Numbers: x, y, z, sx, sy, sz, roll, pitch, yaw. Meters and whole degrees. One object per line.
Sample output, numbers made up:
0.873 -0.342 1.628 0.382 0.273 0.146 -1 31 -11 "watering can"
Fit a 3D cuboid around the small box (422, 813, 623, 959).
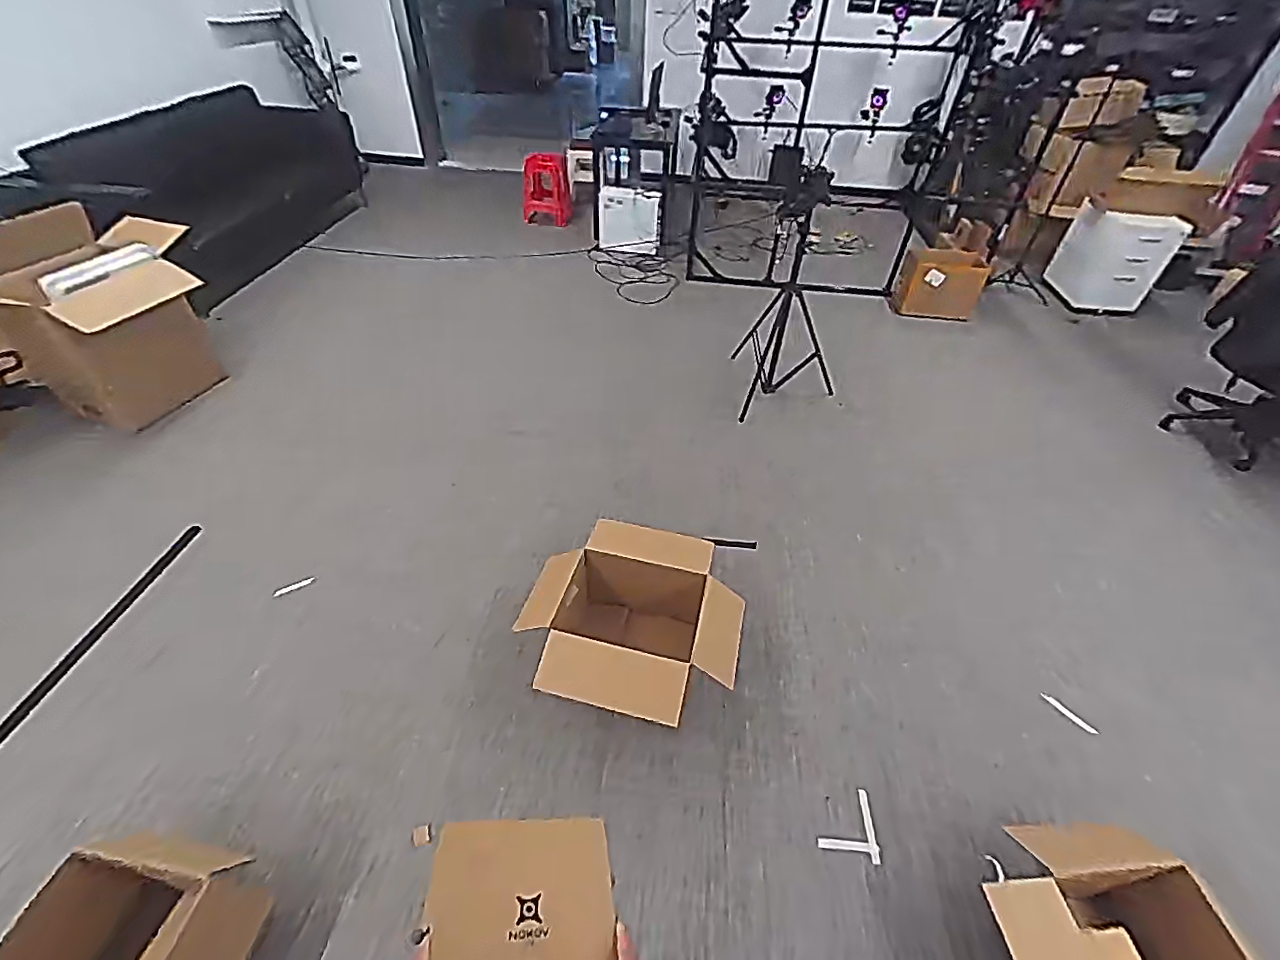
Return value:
-0.122 0.459 0.525 0.168 0.176 0.179 9 30 -17 "small box"
